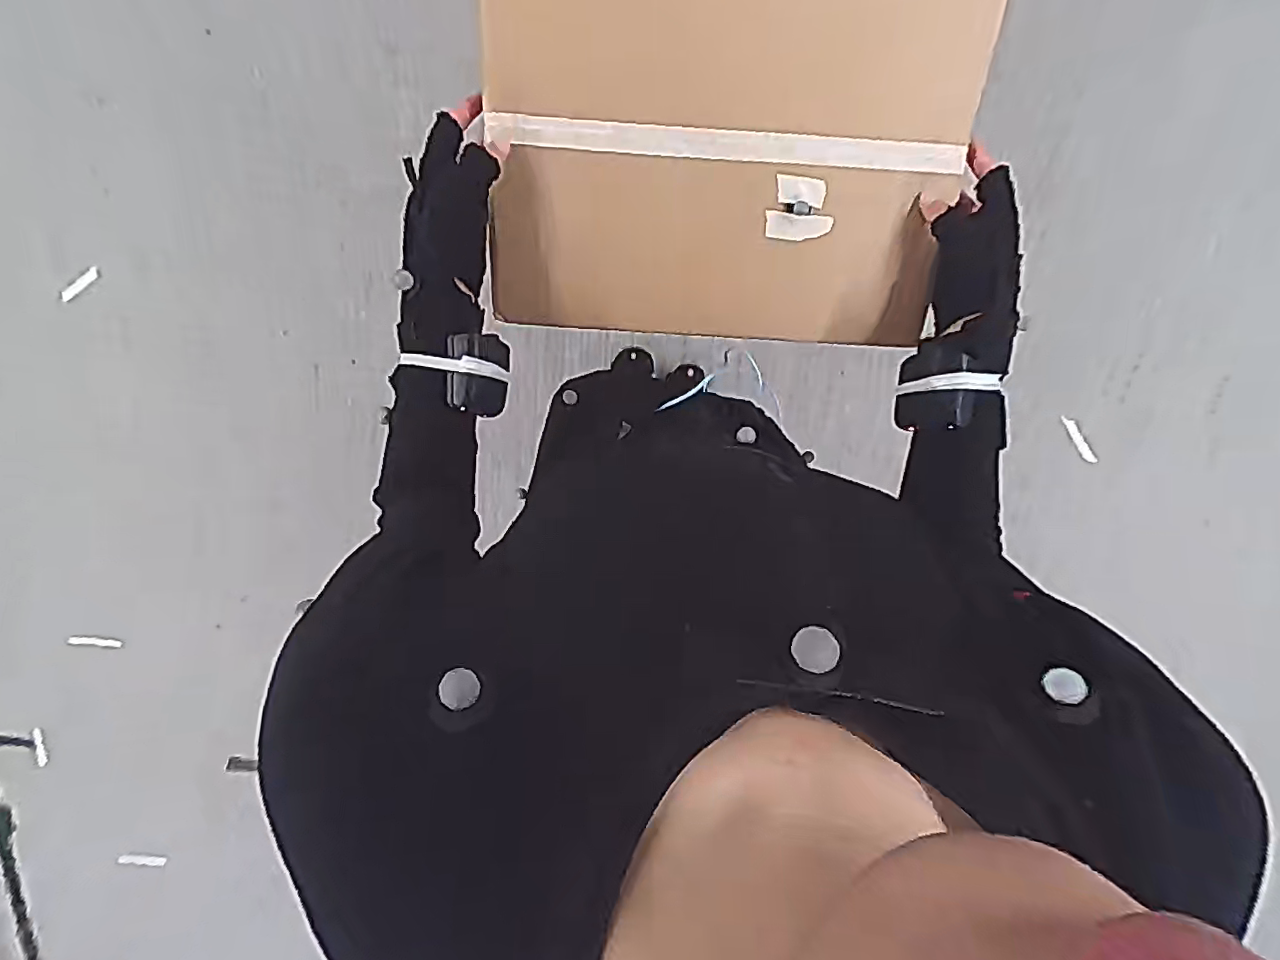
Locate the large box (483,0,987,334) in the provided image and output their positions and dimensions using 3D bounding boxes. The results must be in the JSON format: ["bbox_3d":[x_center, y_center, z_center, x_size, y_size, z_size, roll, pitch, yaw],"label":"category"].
[{"bbox_3d":[0.067,-0.346,0.597,0.408,0.320,0.320,3,114,-3],"label":"large box"}]
